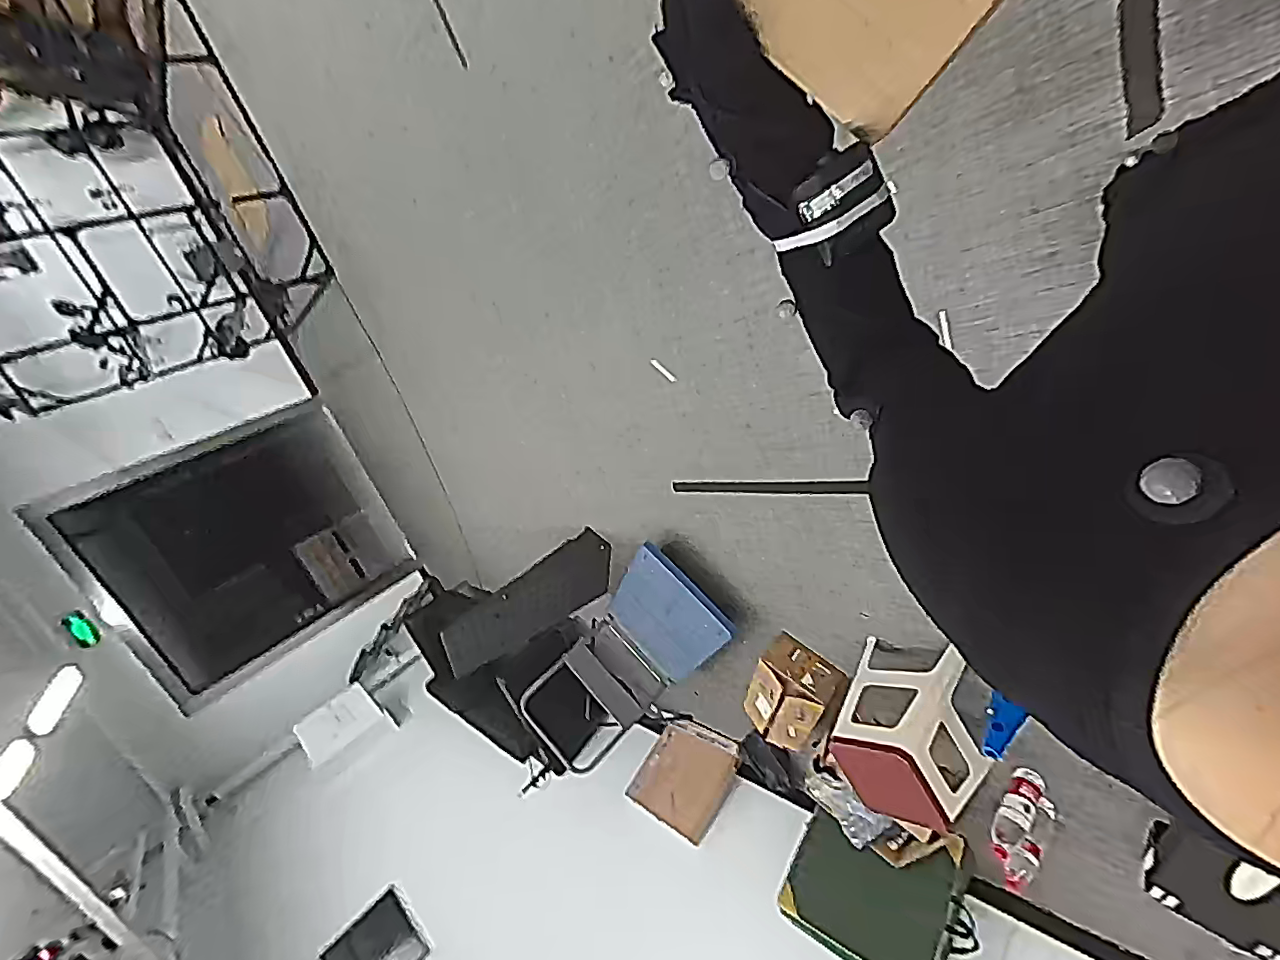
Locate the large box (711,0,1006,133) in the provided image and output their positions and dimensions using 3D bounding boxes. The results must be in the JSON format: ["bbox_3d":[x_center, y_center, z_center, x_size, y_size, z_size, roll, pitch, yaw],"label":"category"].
[{"bbox_3d":[0.196,-0.510,0.301,0.320,0.320,0.408,40,143,-2],"label":"large box"}]
